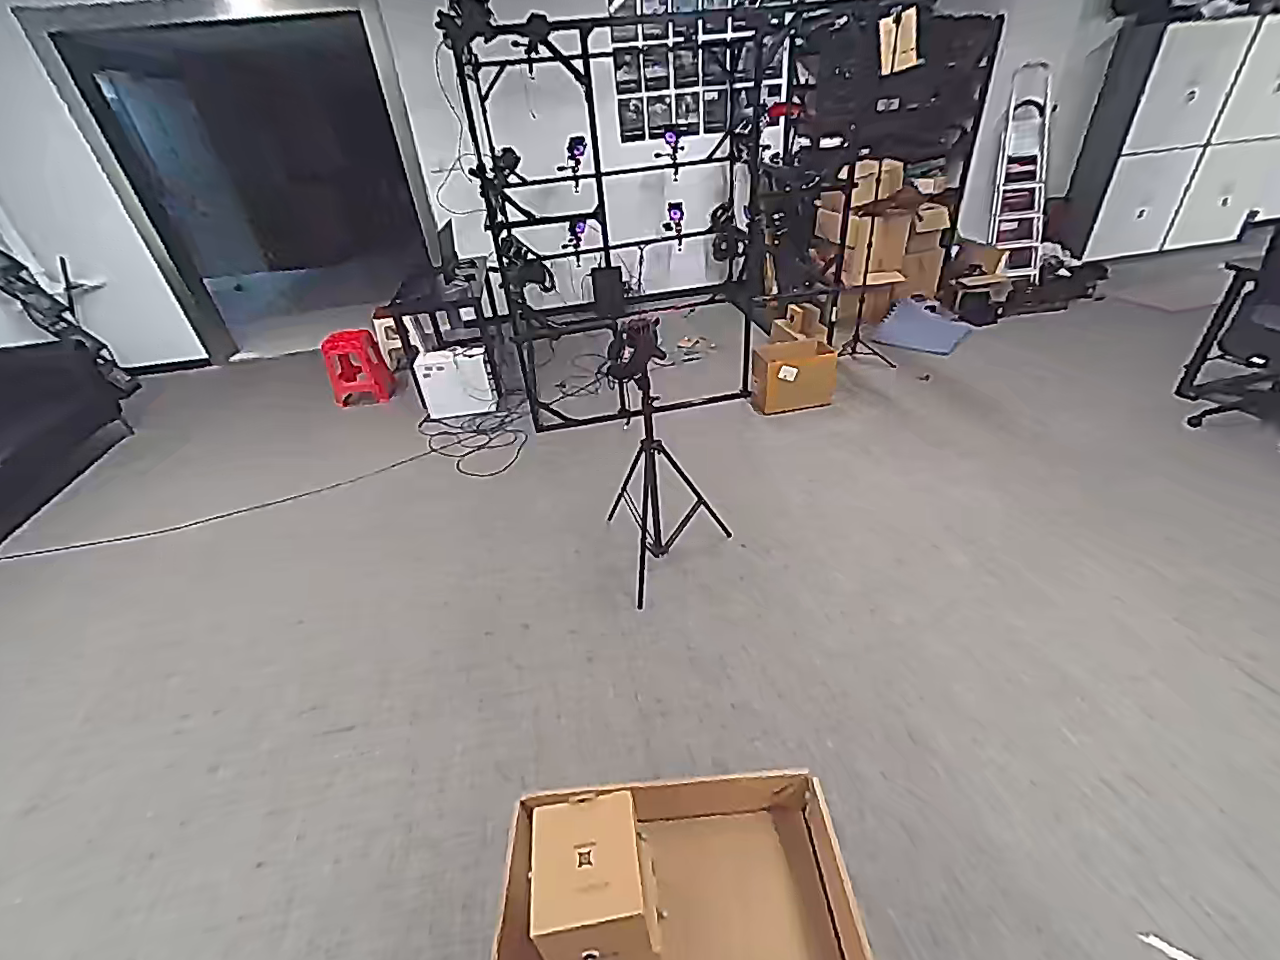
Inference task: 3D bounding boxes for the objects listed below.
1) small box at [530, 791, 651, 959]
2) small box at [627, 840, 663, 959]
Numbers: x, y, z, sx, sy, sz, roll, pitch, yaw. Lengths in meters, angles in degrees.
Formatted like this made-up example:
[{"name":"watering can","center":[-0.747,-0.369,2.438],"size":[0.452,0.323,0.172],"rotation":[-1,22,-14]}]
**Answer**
[{"name":"small box","center":[-0.079,0.647,0.878],"size":[0.168,0.176,0.179],"rotation":[-9,34,-3]},{"name":"small box","center":[-0.055,0.782,0.969],"size":[0.179,0.176,0.168],"rotation":[-6,35,-2]}]
